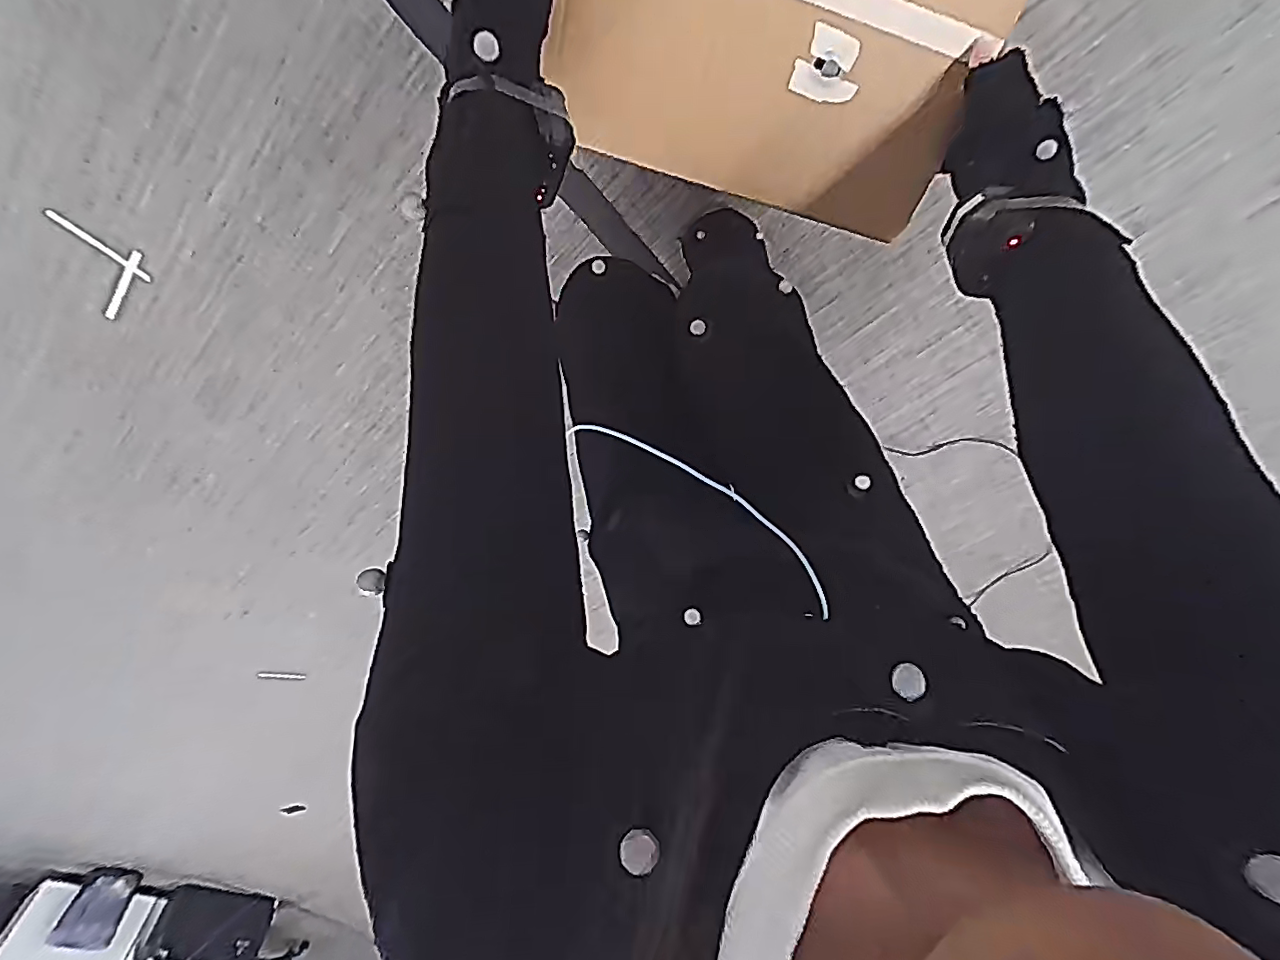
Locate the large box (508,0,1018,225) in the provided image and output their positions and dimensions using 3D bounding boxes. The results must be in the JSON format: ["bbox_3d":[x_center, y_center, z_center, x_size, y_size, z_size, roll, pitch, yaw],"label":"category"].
[{"bbox_3d":[0.104,-0.501,0.541,0.408,0.320,0.320,11,128,-11],"label":"large box"}]
